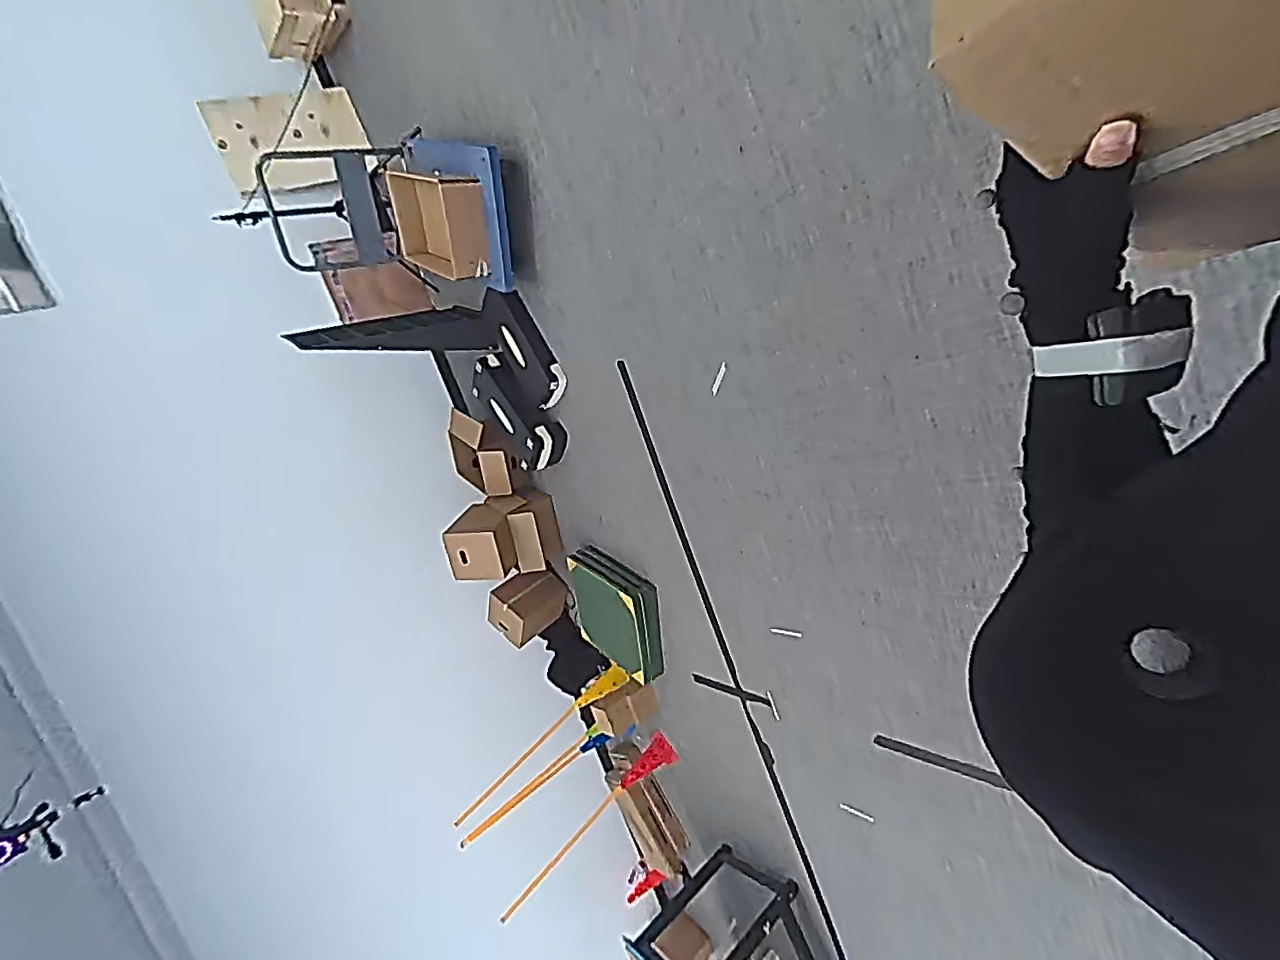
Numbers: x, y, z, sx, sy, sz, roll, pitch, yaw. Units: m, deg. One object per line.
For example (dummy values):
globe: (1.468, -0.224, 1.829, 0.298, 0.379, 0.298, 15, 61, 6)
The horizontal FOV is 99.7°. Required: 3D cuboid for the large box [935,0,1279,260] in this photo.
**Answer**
large box: (0.382, -0.340, 0.183, 0.408, 0.320, 0.320, -2, 82, 58)
